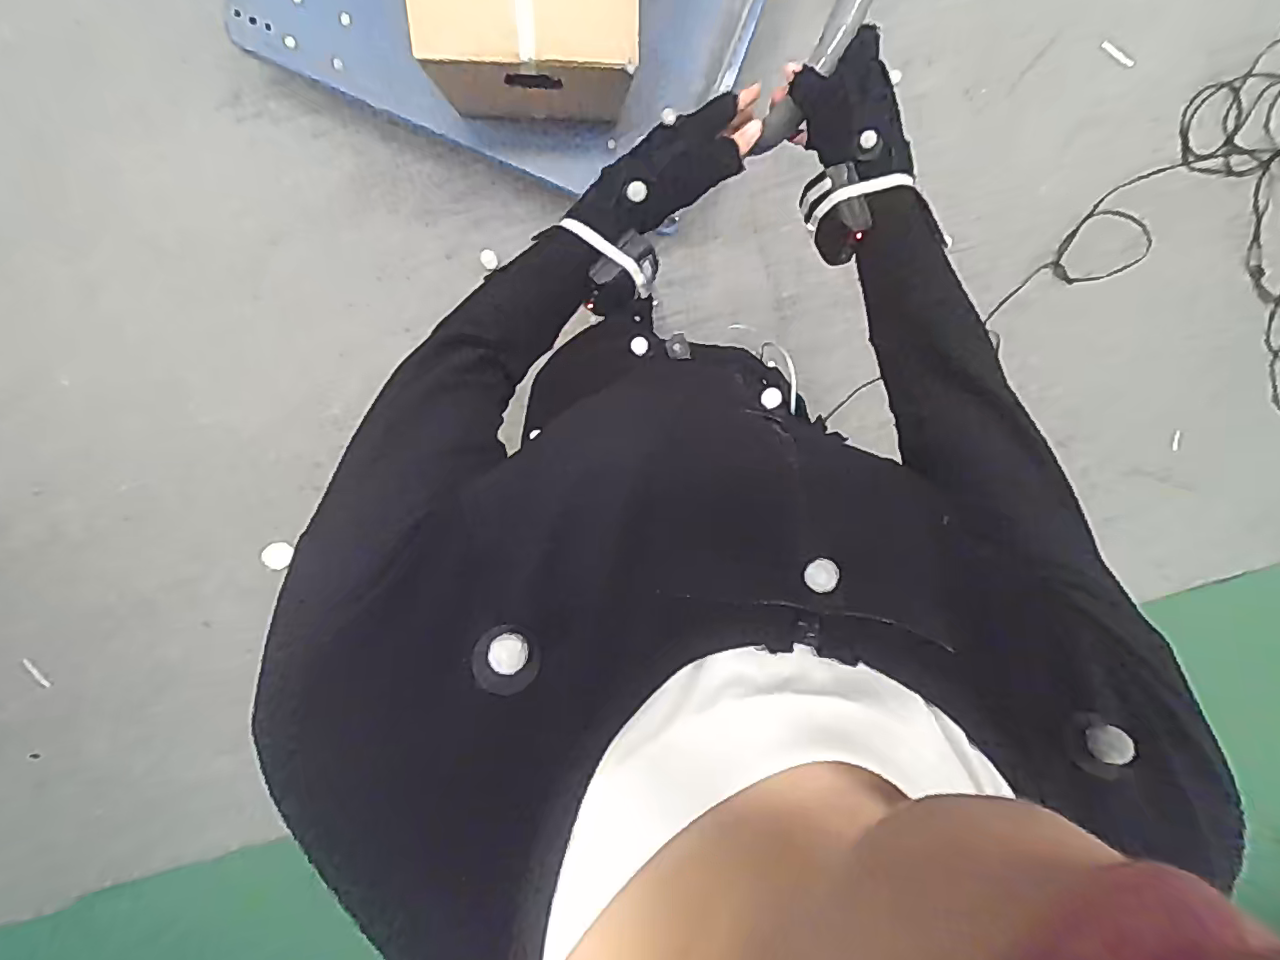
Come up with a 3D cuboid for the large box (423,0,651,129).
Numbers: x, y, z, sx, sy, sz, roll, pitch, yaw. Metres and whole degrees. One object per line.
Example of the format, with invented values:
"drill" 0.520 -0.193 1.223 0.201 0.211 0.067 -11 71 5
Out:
"large box" -0.158 -0.812 0.834 0.320 0.320 0.408 -3 112 -5
